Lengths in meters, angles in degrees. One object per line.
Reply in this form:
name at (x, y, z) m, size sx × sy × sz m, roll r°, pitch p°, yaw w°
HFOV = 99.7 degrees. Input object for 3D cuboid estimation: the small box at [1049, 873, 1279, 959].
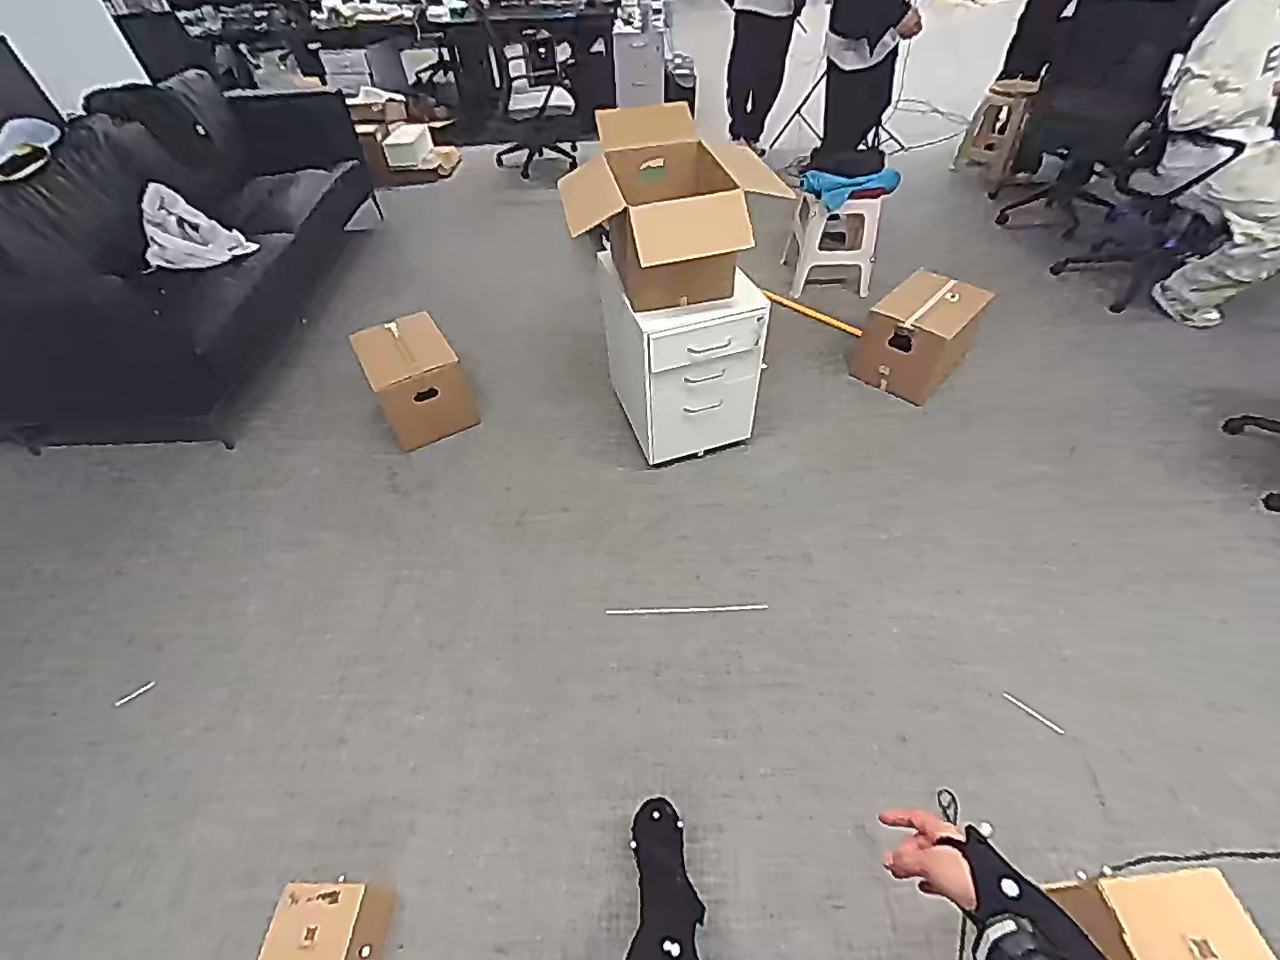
small box at (0.738, 0.667, 0.758) m, size 0.179 × 0.176 × 0.168 m, roll -7°, pitch 47°, yaw 0°

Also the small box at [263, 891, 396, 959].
small box at (-0.614, 0.932, 1.072) m, size 0.168 × 0.176 × 0.179 m, roll -2°, pitch 48°, yaw 3°

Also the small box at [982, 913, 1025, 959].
small box at (0.766, 0.894, 0.991) m, size 0.179 × 0.176 × 0.168 m, roll -8°, pitch 48°, yaw -3°

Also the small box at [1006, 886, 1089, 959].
small box at (0.752, 0.772, 0.882) m, size 0.179 × 0.176 × 0.168 m, roll -6°, pitch 47°, yaw 0°
